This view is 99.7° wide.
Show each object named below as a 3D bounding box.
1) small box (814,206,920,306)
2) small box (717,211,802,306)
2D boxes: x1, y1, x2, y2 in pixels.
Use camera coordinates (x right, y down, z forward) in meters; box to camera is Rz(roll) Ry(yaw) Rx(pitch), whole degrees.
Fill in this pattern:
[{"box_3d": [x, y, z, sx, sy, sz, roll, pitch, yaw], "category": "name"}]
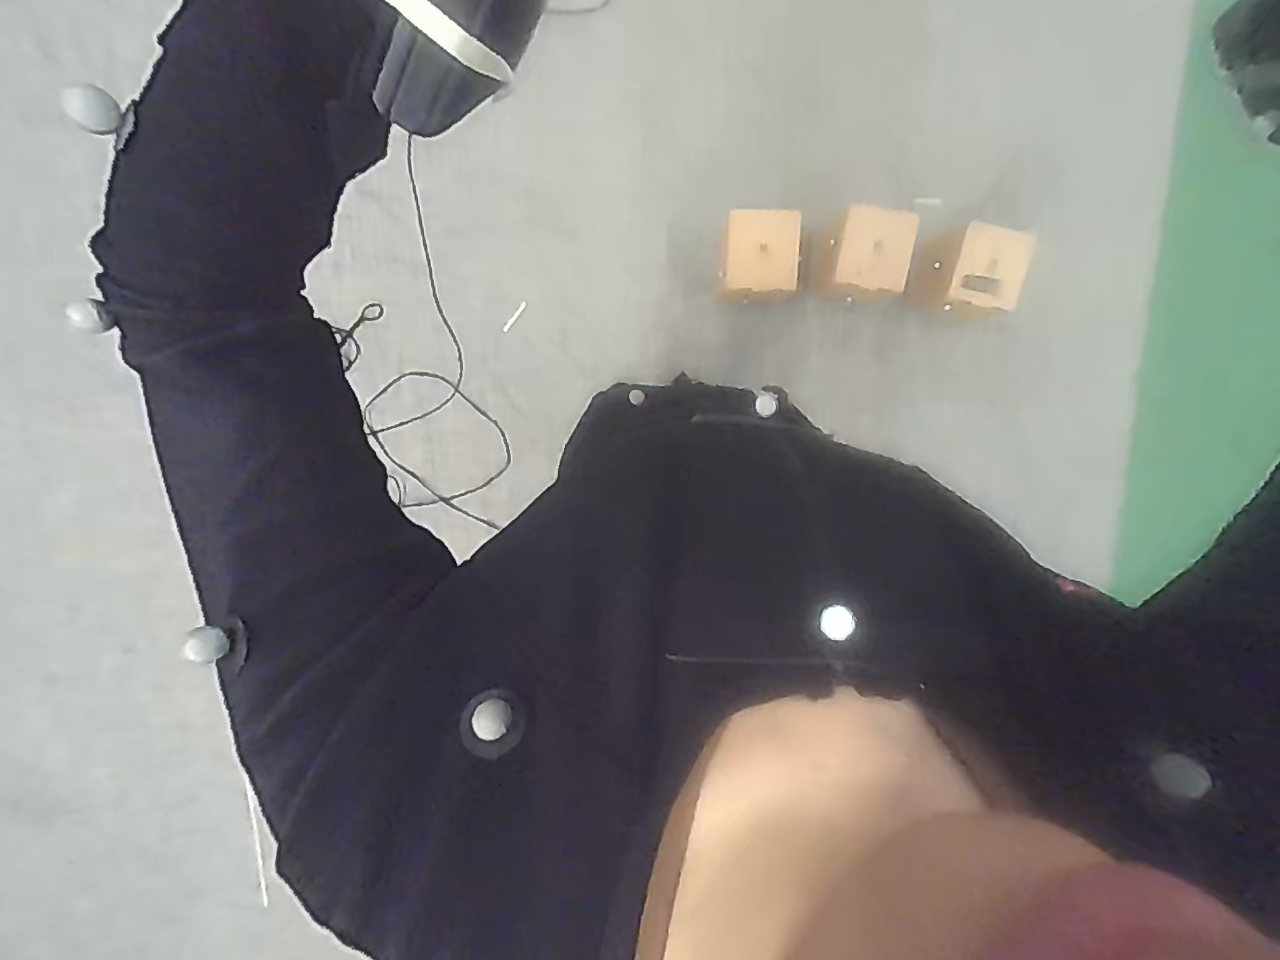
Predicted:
[{"box_3d": [0.538, -0.532, 1.306, 0.168, 0.176, 0.179, 9, 99, -1], "category": "small box"}, {"box_3d": [0.281, -0.529, 1.308, 0.168, 0.176, 0.179, 1, 99, 0], "category": "small box"}]
